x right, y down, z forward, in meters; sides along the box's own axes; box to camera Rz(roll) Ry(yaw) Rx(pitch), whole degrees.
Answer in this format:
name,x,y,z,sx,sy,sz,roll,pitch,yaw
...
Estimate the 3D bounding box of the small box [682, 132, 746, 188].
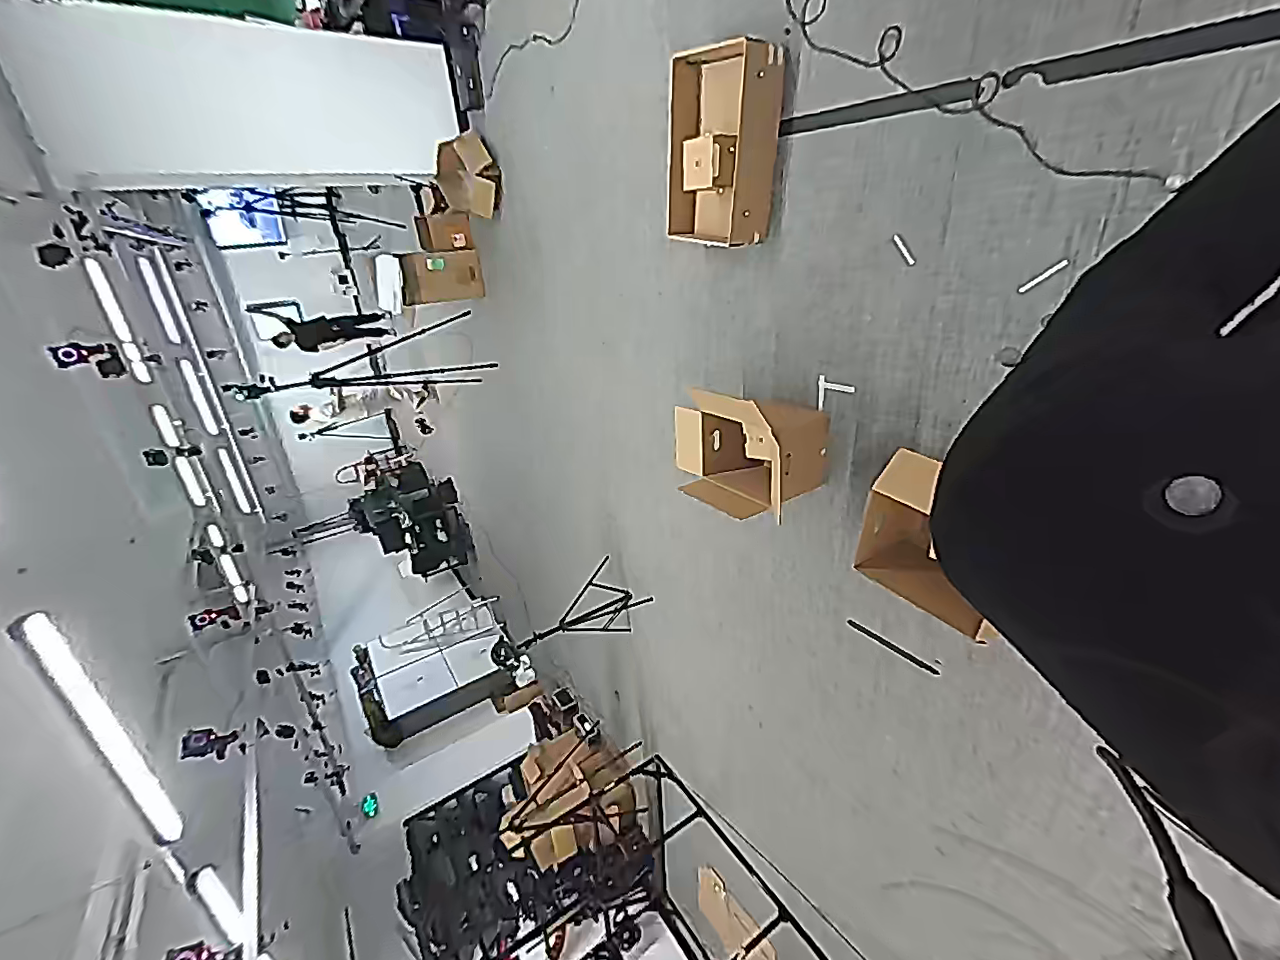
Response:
name,x,y,z,sx,sy,sz,roll,pitch,yaw
small box,0.275,-1.183,2.004,0.179,0.176,0.168,31,130,49
